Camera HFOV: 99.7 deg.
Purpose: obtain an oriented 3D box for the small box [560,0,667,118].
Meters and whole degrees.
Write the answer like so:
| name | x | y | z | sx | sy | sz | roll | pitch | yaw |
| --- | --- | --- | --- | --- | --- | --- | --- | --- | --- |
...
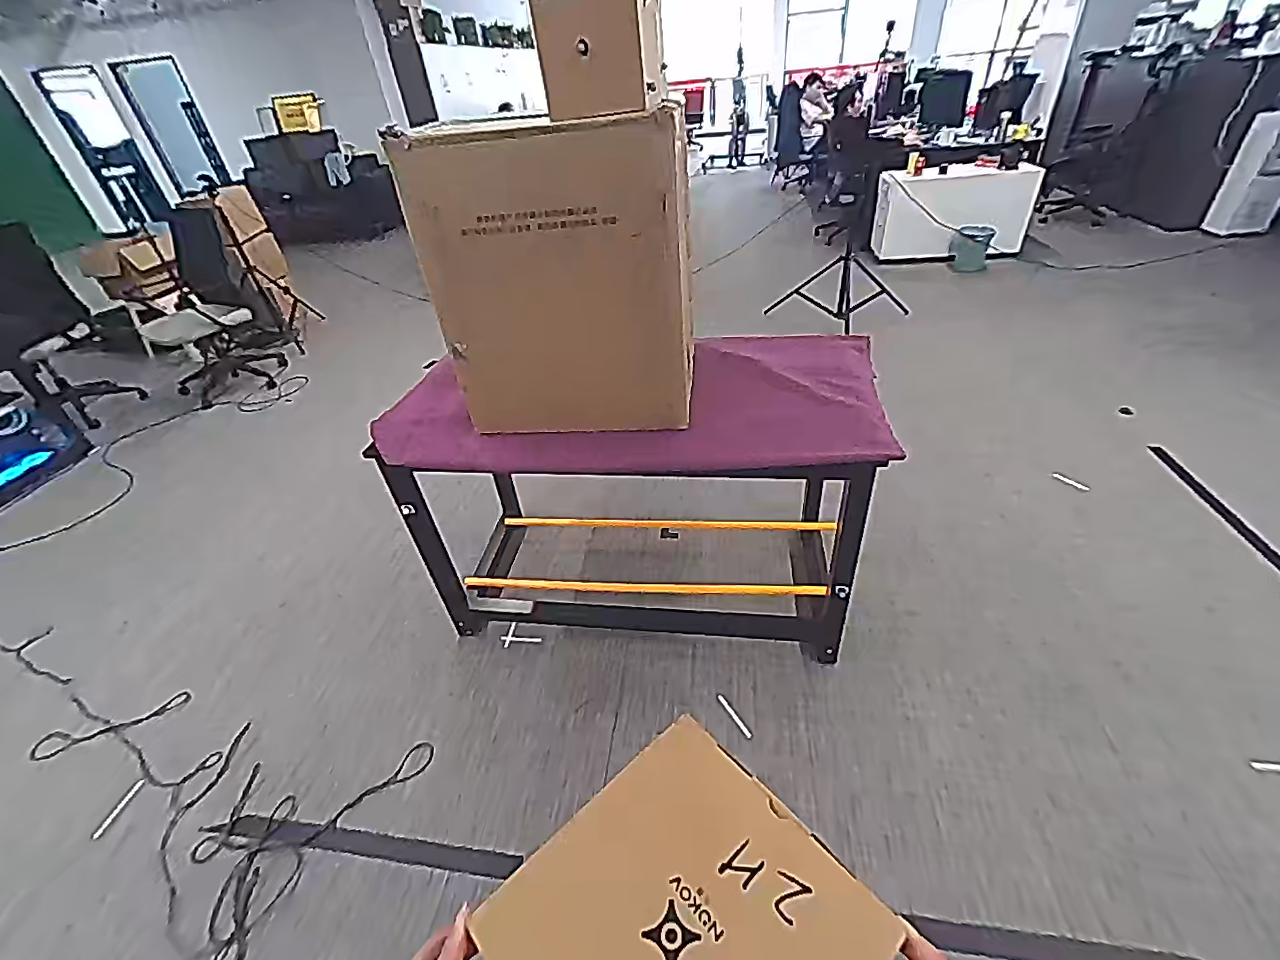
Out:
| name | x | y | z | sx | sy | sz | roll | pitch | yaw |
| --- | --- | --- | --- | --- | --- | --- | --- | --- | --- |
| small box | -0.044 | -0.831 | 1.076 | 0.179 | 0.176 | 0.168 | -1 | 37 | 9 |
